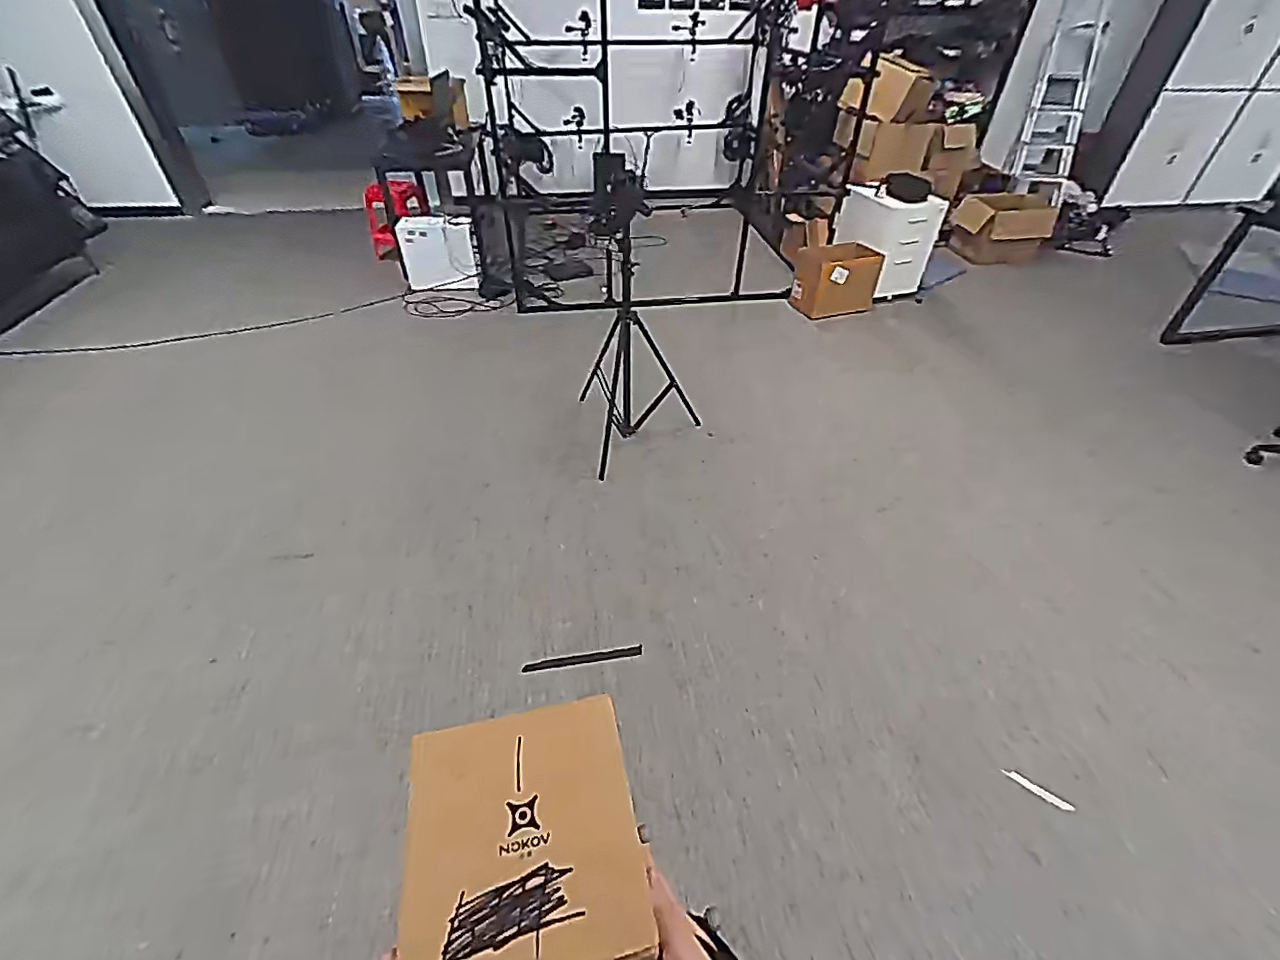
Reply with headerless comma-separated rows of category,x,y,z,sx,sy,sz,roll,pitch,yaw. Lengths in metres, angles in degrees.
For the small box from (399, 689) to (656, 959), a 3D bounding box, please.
small box,-0.085,0.308,0.450,0.168,0.176,0.179,-9,43,-10
